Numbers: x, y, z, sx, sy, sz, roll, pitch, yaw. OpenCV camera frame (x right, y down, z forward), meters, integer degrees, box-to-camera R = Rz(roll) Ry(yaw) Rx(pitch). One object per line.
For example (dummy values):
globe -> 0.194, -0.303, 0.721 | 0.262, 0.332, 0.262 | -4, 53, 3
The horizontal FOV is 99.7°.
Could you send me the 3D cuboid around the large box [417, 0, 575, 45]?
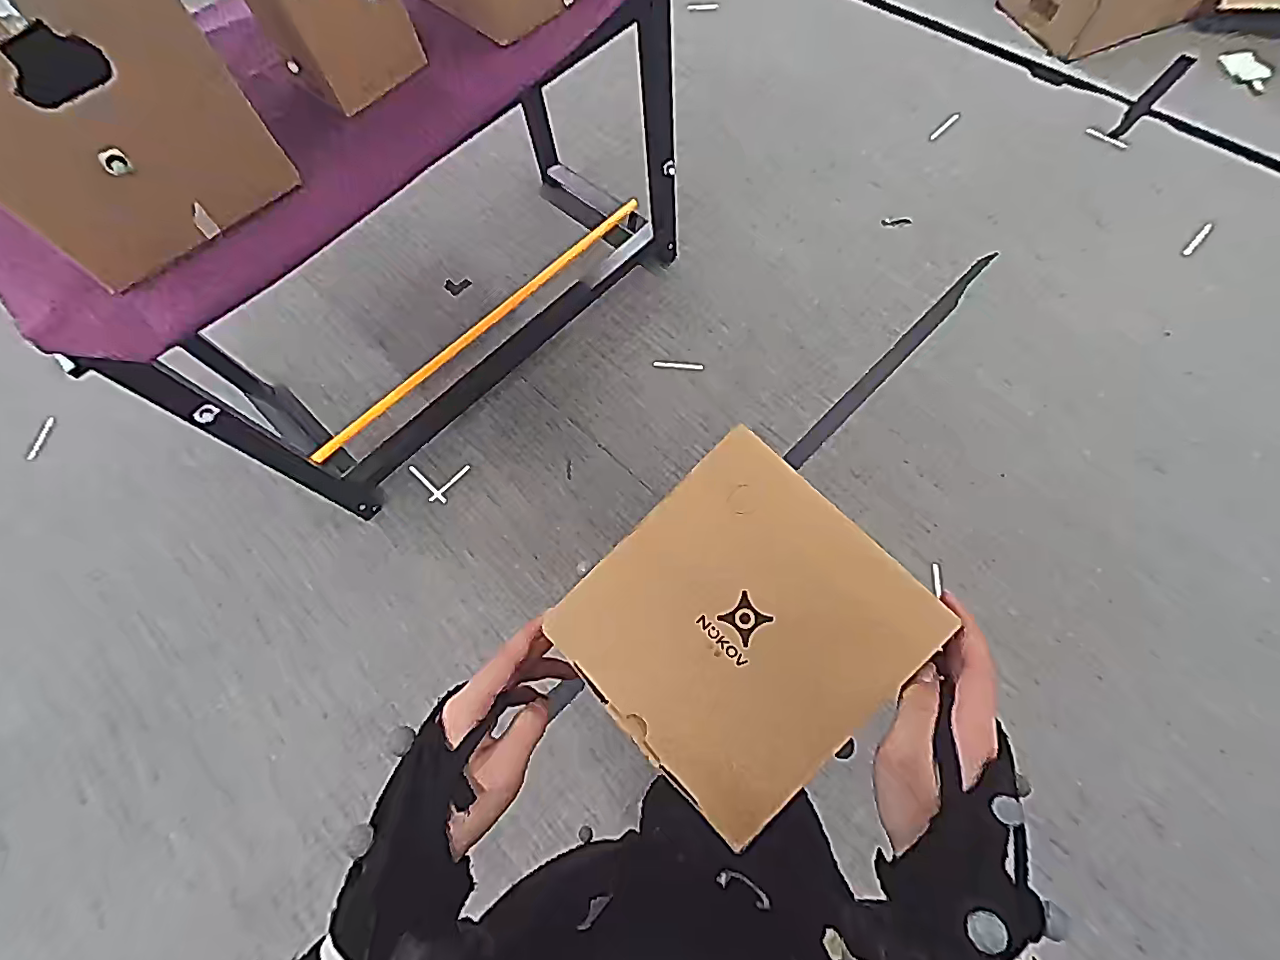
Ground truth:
large box -> -0.274, -1.009, 0.877 | 0.408, 0.320, 0.320 | 41, 76, 19
